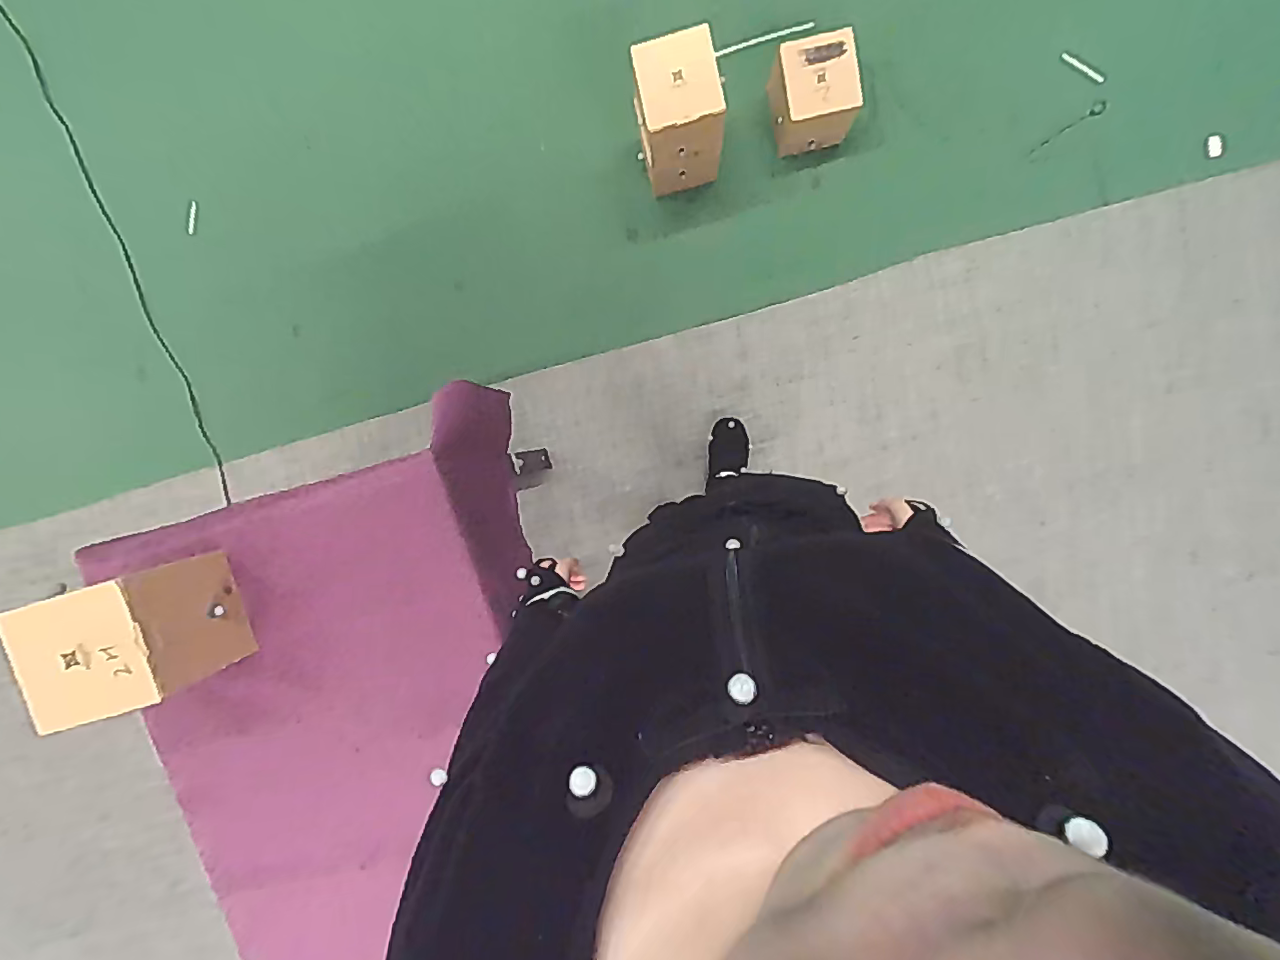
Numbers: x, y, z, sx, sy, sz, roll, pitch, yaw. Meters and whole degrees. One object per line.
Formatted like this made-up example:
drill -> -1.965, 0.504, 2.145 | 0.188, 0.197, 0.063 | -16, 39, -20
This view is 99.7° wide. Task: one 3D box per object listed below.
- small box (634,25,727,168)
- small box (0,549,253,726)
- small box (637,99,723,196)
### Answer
small box -> 0.088, -0.827, 1.184 | 0.168, 0.176, 0.179 | -13, 94, 6
small box -> -0.702, 0.209, 0.758 | 0.179, 0.176, 0.168 | -15, 95, 2
small box -> 0.099, -0.843, 1.346 | 0.179, 0.176, 0.168 | -13, 93, 7
